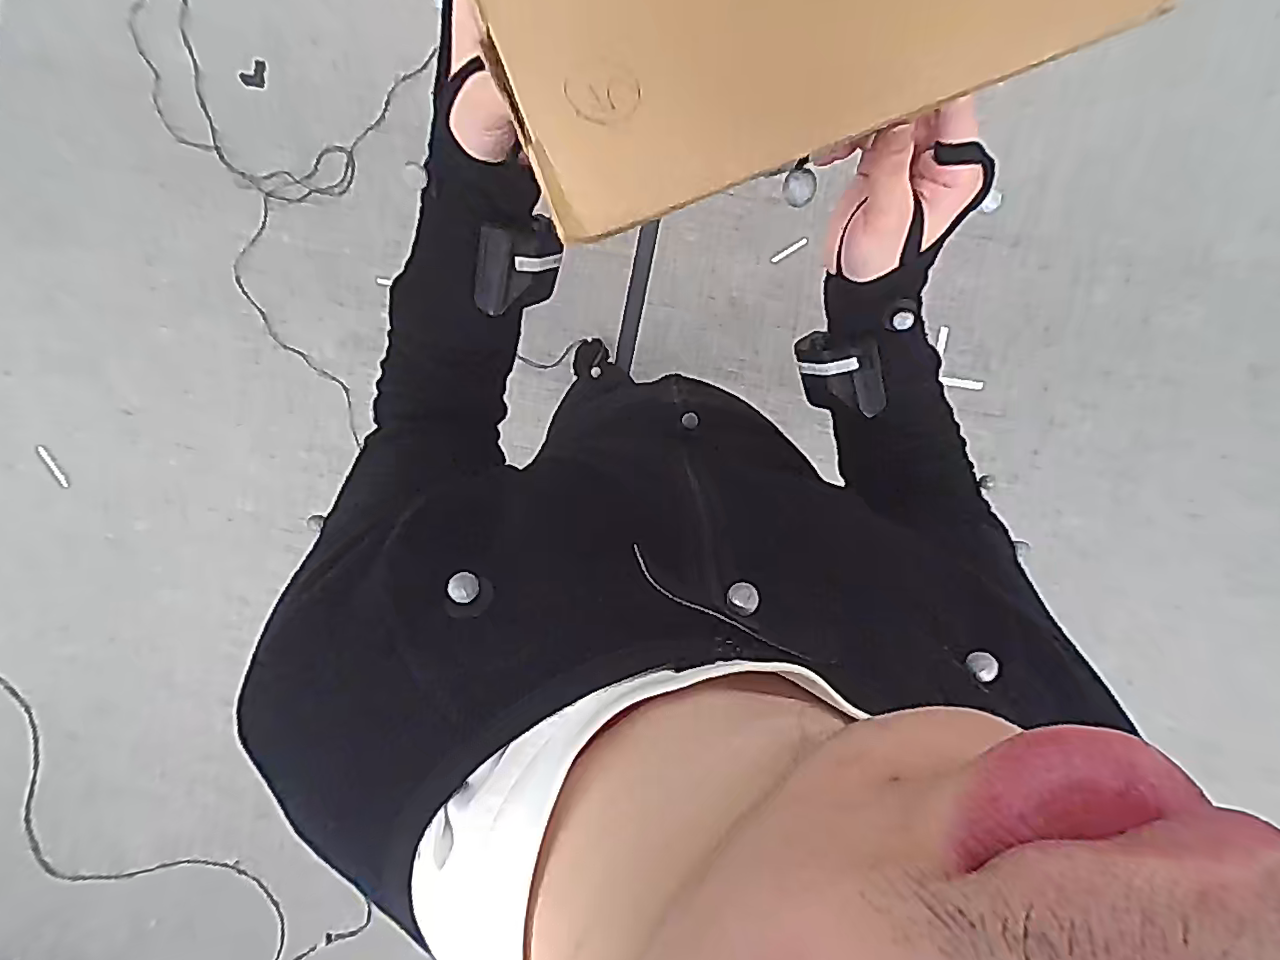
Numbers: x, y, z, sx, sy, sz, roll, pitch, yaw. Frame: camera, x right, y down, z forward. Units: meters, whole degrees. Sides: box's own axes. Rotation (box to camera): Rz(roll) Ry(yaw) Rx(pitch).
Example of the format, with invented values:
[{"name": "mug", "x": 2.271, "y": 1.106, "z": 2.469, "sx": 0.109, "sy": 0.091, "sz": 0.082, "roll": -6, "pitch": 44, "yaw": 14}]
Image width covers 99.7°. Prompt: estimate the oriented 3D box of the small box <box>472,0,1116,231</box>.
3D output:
[{"name": "small box", "x": 0.033, "y": -0.212, "z": 0.209, "sx": 0.179, "sy": 0.176, "sz": 0.168, "roll": -17, "pitch": 115, "yaw": 12}]
